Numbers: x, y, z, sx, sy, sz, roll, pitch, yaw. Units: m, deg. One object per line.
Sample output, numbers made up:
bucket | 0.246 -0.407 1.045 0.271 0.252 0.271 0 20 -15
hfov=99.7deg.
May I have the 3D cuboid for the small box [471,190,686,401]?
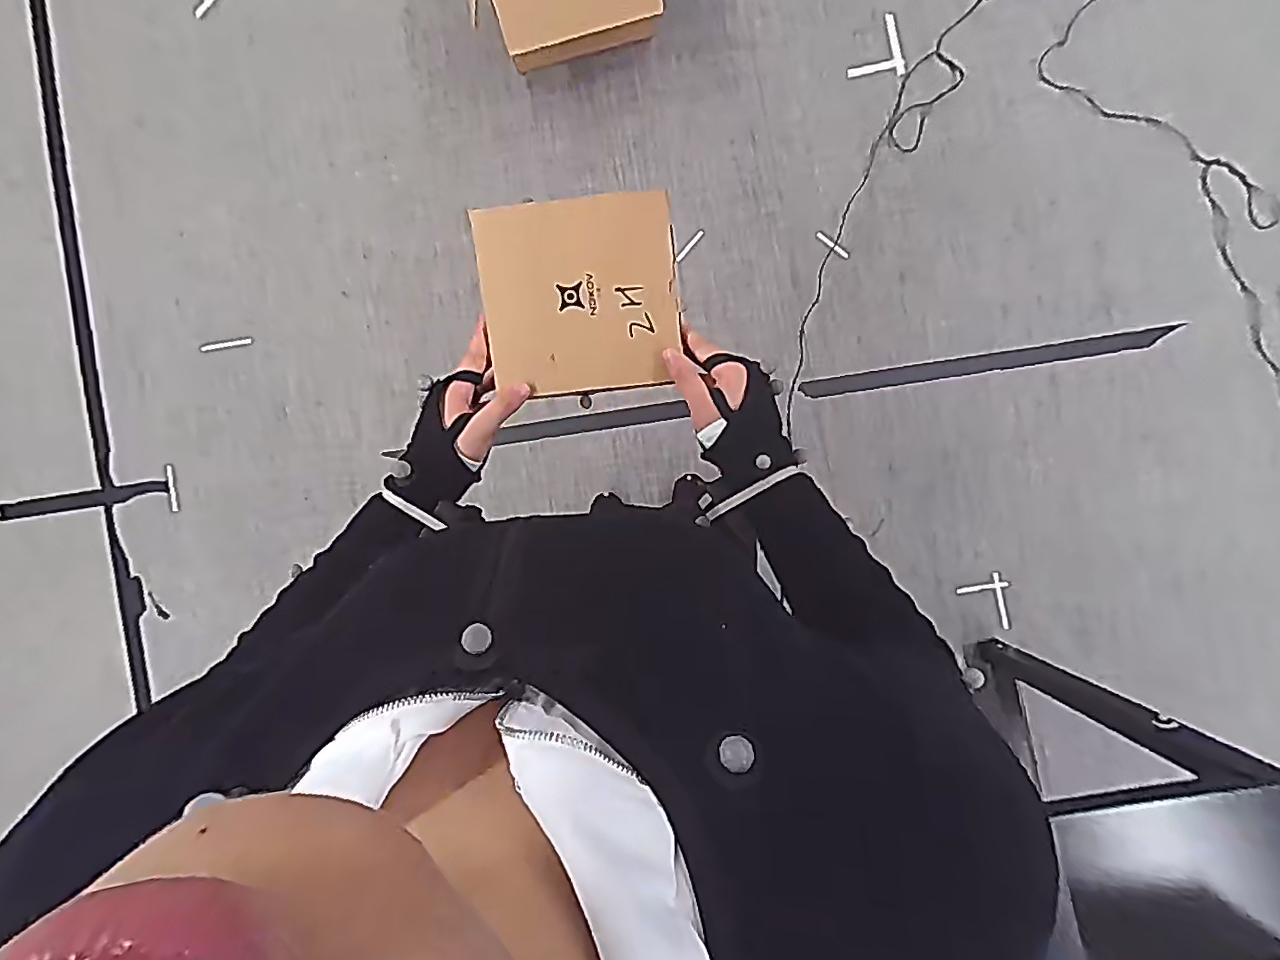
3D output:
small box | -0.050 -0.169 0.548 0.179 0.176 0.168 -6 100 1
